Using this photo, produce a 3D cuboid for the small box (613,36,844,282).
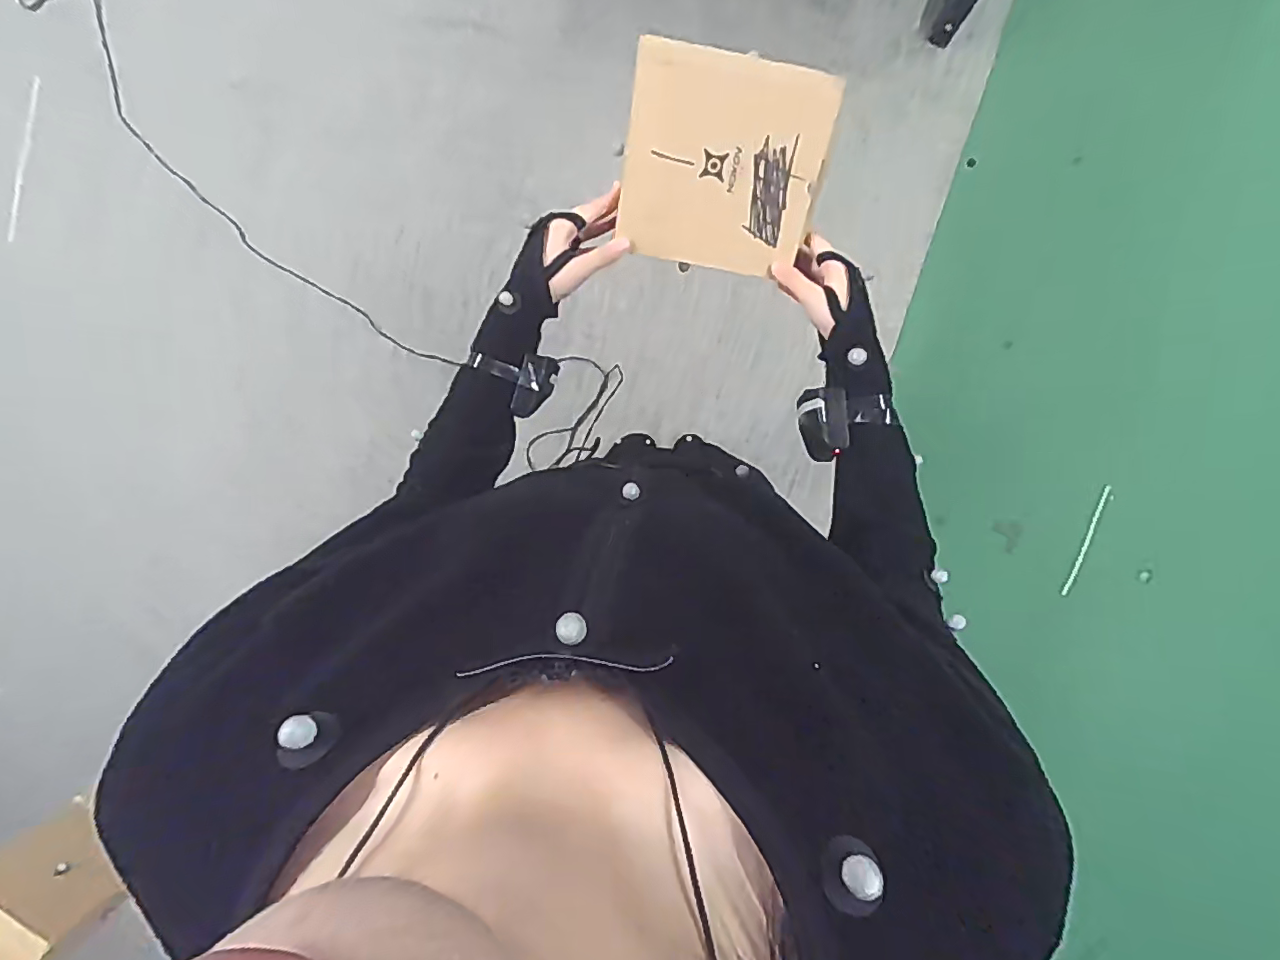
[{"bbox_3d":[0.070,-0.312,0.549,0.179,0.176,0.168,8,117,-6],"label":"small box"}]
